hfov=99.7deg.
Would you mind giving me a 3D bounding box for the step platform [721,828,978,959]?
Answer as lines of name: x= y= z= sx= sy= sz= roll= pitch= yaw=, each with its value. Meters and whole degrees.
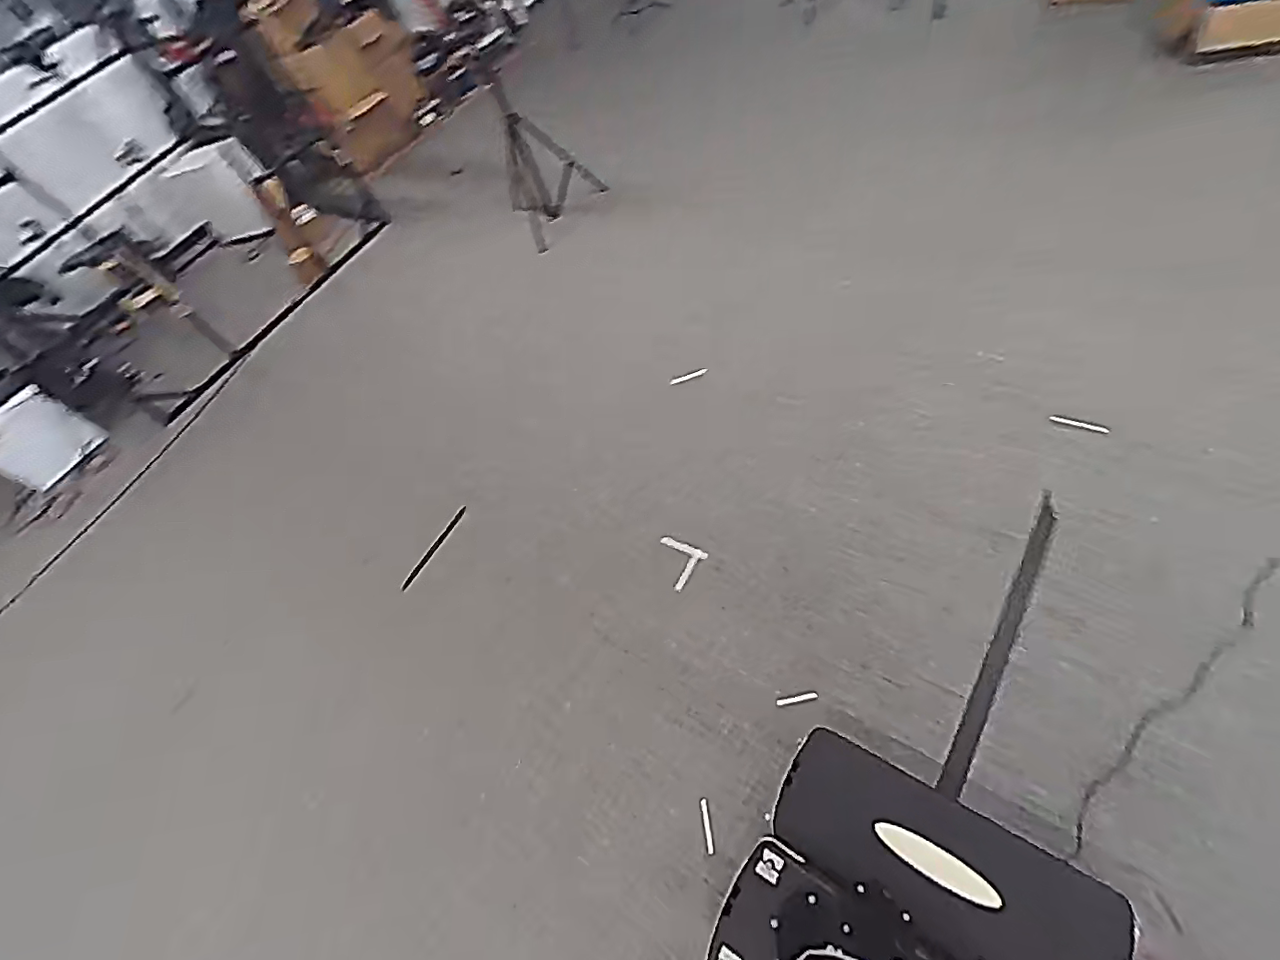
step platform: x=0.506 y=1.017 z=1.061 sx=0.684 sy=0.204 sz=0.286 roll=19 pitch=65 yaw=31
